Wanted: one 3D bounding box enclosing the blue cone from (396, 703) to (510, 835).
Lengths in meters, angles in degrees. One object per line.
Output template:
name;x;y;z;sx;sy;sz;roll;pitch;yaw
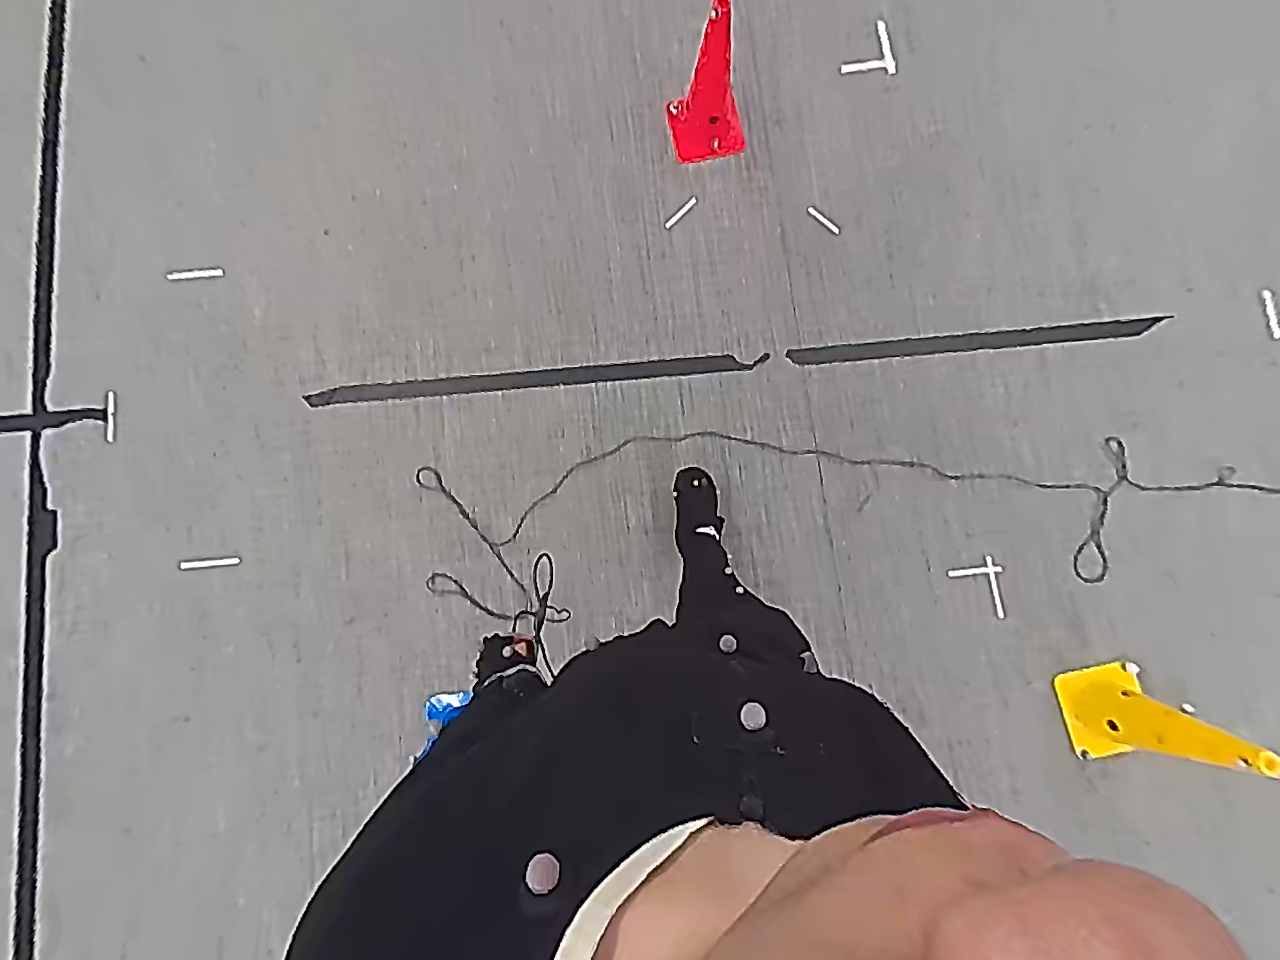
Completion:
blue cone;-0.414;0.619;1.136;0.193;0.380;0.192;-5;83;0

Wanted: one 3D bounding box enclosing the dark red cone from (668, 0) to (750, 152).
dark red cone;0.187;-1.024;1.327;0.202;0.394;0.201;-13;83;-1
